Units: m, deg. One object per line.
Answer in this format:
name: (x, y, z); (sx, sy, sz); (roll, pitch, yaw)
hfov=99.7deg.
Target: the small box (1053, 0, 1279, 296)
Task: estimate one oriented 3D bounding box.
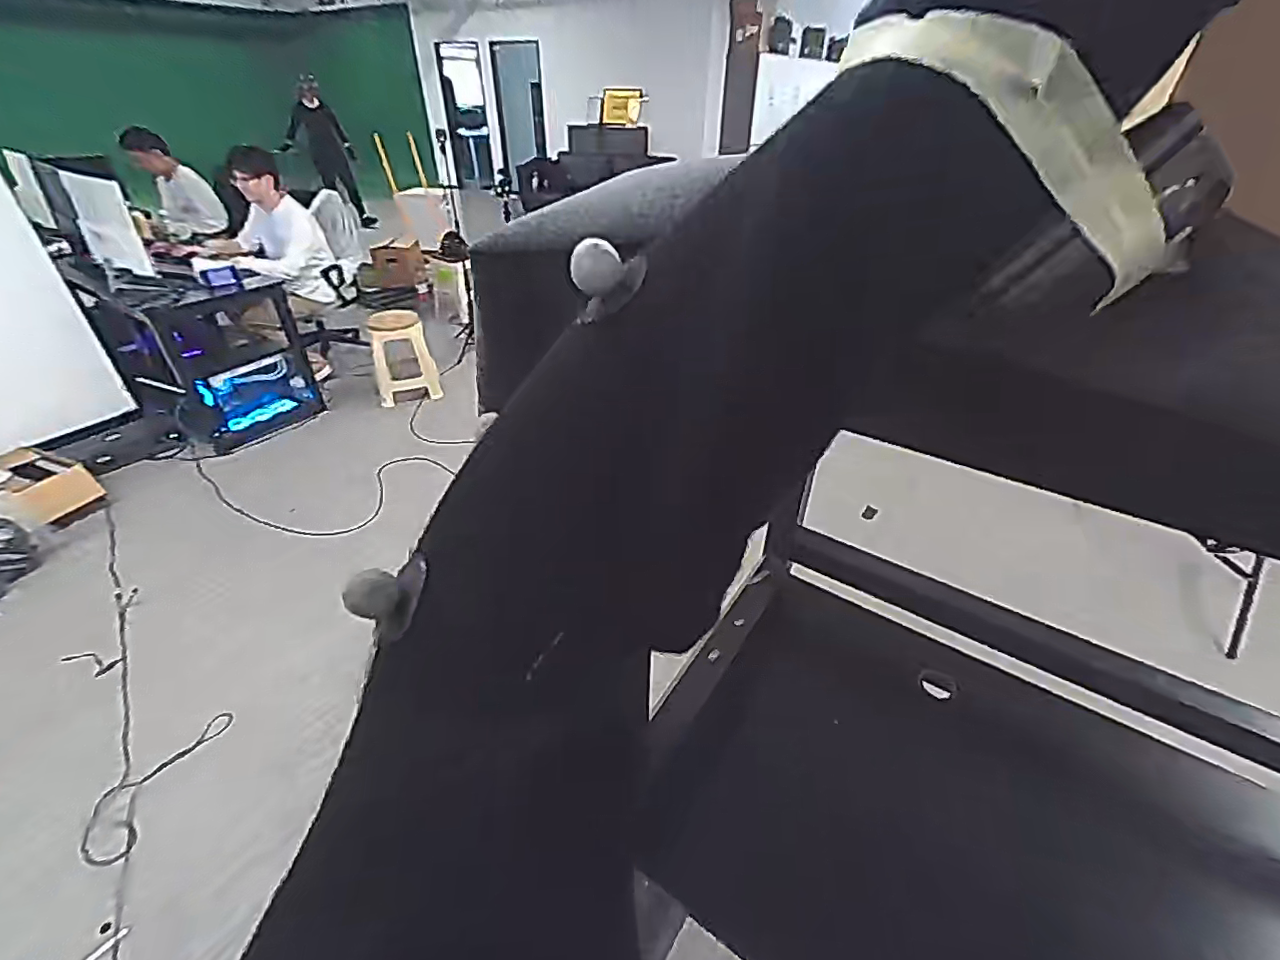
small box: (0.294, -0.169, 0.207); (0.168, 0.176, 0.179); (17, 38, 21)
